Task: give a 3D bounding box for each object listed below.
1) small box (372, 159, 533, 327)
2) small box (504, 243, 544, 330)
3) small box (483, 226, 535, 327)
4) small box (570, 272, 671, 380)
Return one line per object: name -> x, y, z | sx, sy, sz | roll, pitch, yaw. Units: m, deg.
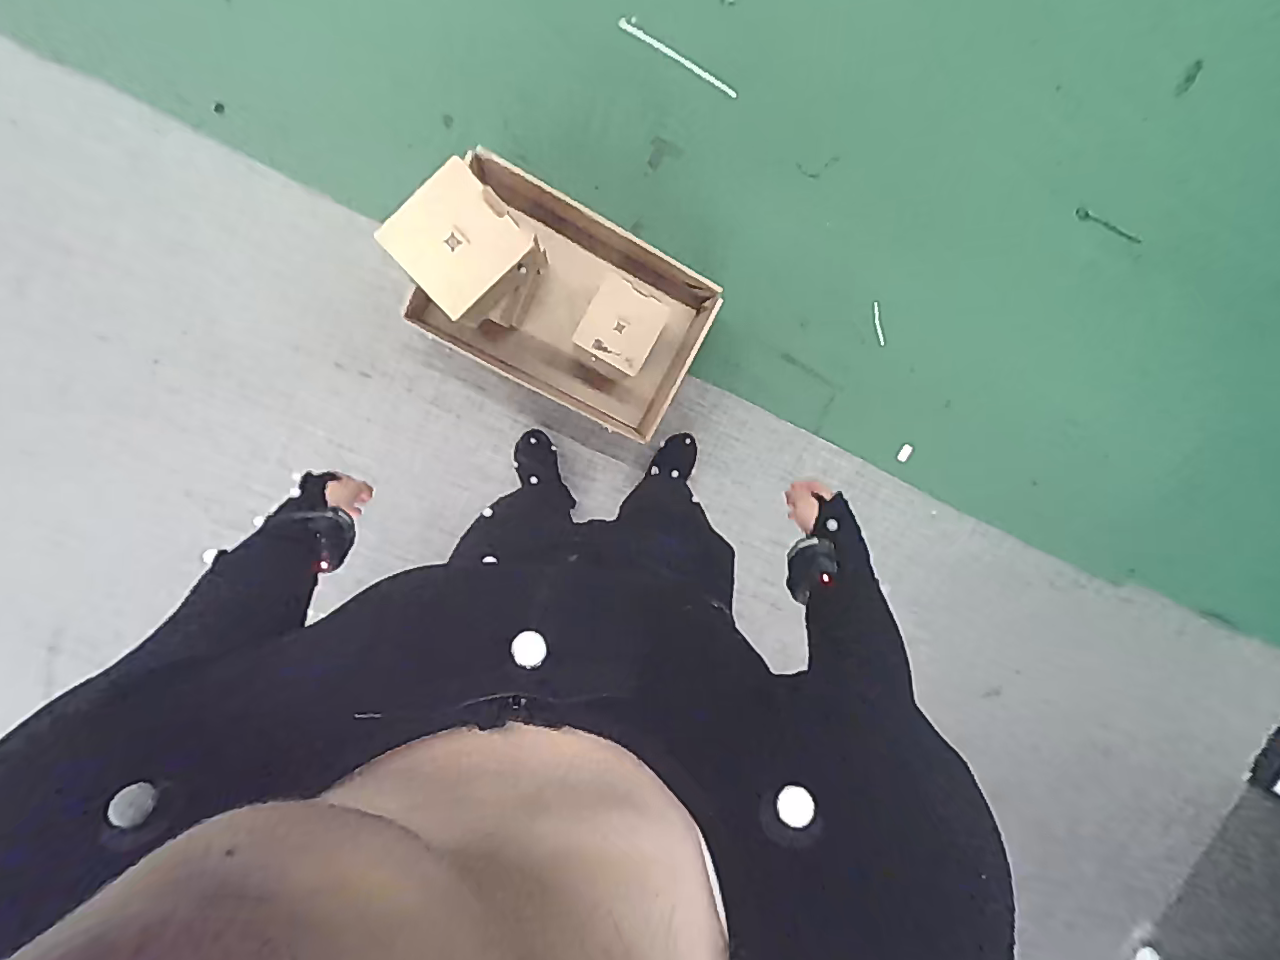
small box -> -0.290, -0.369, 0.885 | 0.179, 0.176, 0.168 | -43, 104, 2
small box -> -0.321, -0.452, 1.199 | 0.168, 0.176, 0.179 | 23, 97, -12
small box -> -0.310, -0.411, 1.041 | 0.168, 0.176, 0.179 | 25, 97, -12
small box -> -0.053, -0.350, 1.258 | 0.168, 0.176, 0.179 | 29, 97, -11
